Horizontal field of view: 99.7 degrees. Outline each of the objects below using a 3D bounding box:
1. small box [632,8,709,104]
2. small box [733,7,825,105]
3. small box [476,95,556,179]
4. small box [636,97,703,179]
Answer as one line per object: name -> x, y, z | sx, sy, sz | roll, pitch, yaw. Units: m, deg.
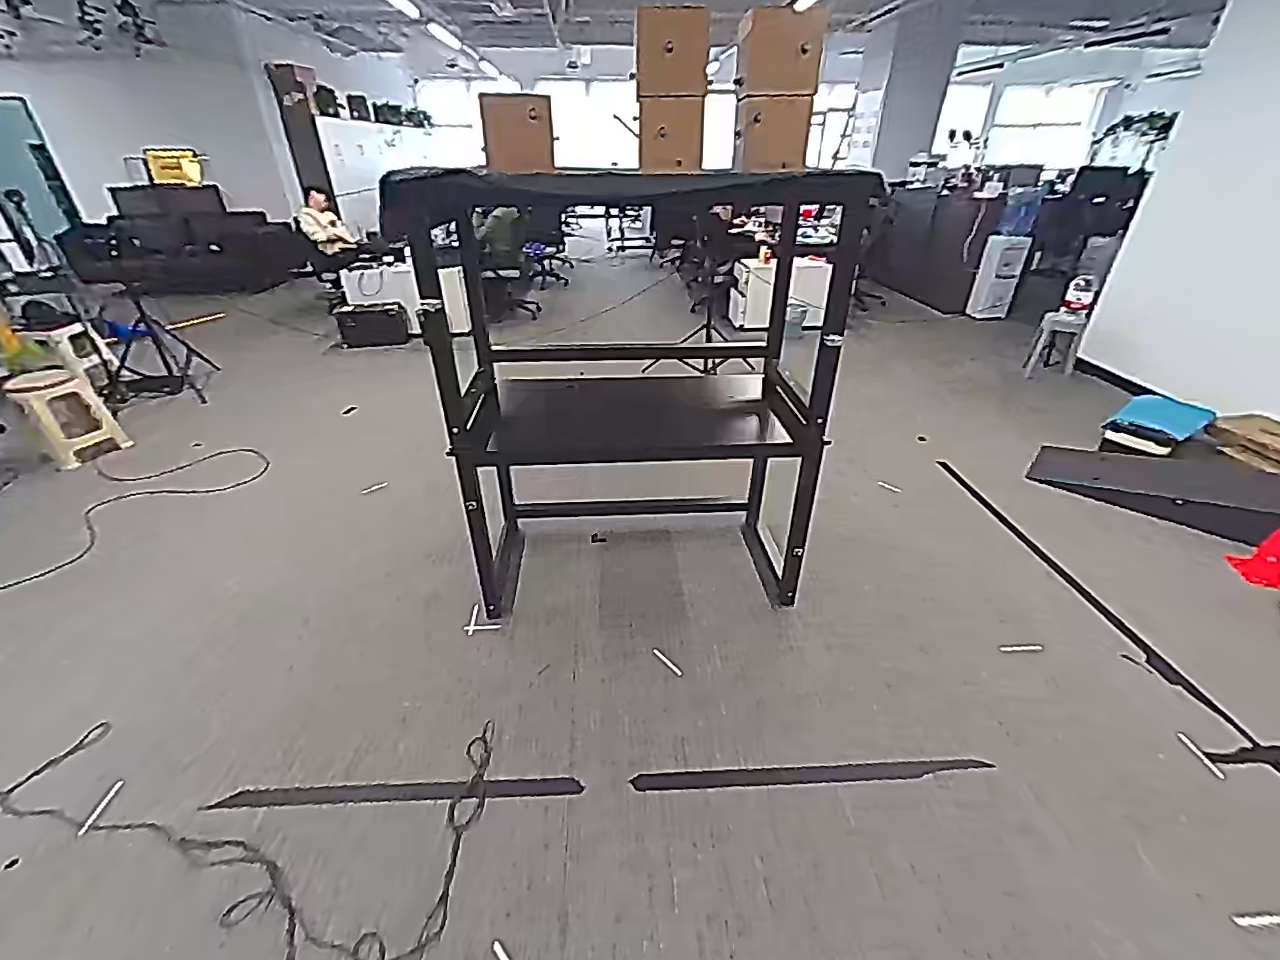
small box -> 0.072, -1.029, 1.327 | 0.179, 0.176, 0.168 | -2, 29, 1
small box -> 0.333, -1.031, 1.327 | 0.179, 0.176, 0.168 | -3, 29, -1
small box -> -0.307, -0.867, 1.377 | 0.179, 0.176, 0.168 | -4, 30, -7
small box -> 0.074, -0.891, 1.418 | 0.168, 0.176, 0.179 | 0, 30, 0
